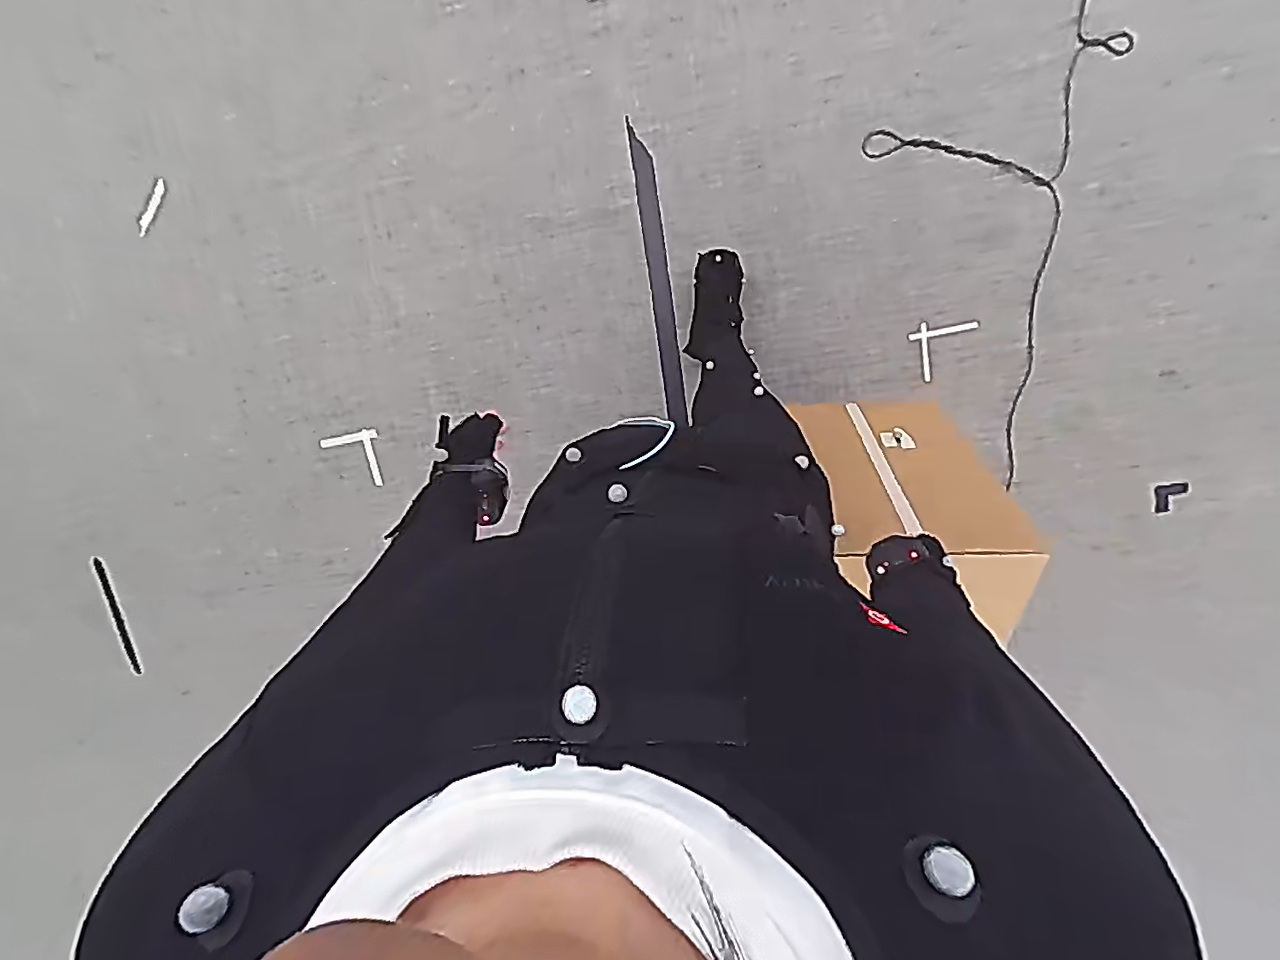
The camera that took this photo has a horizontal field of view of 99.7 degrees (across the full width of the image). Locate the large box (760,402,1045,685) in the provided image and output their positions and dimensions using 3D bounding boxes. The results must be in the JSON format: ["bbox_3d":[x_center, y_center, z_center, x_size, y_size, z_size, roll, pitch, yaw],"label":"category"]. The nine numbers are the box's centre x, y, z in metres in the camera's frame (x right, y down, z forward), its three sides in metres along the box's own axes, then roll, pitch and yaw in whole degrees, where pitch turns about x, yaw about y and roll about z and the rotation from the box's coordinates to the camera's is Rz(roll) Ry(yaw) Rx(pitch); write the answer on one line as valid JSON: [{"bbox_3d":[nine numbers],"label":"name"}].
[{"bbox_3d":[0.393,0.096,0.947,0.320,0.408,0.320,-1,124,5],"label":"large box"}]
